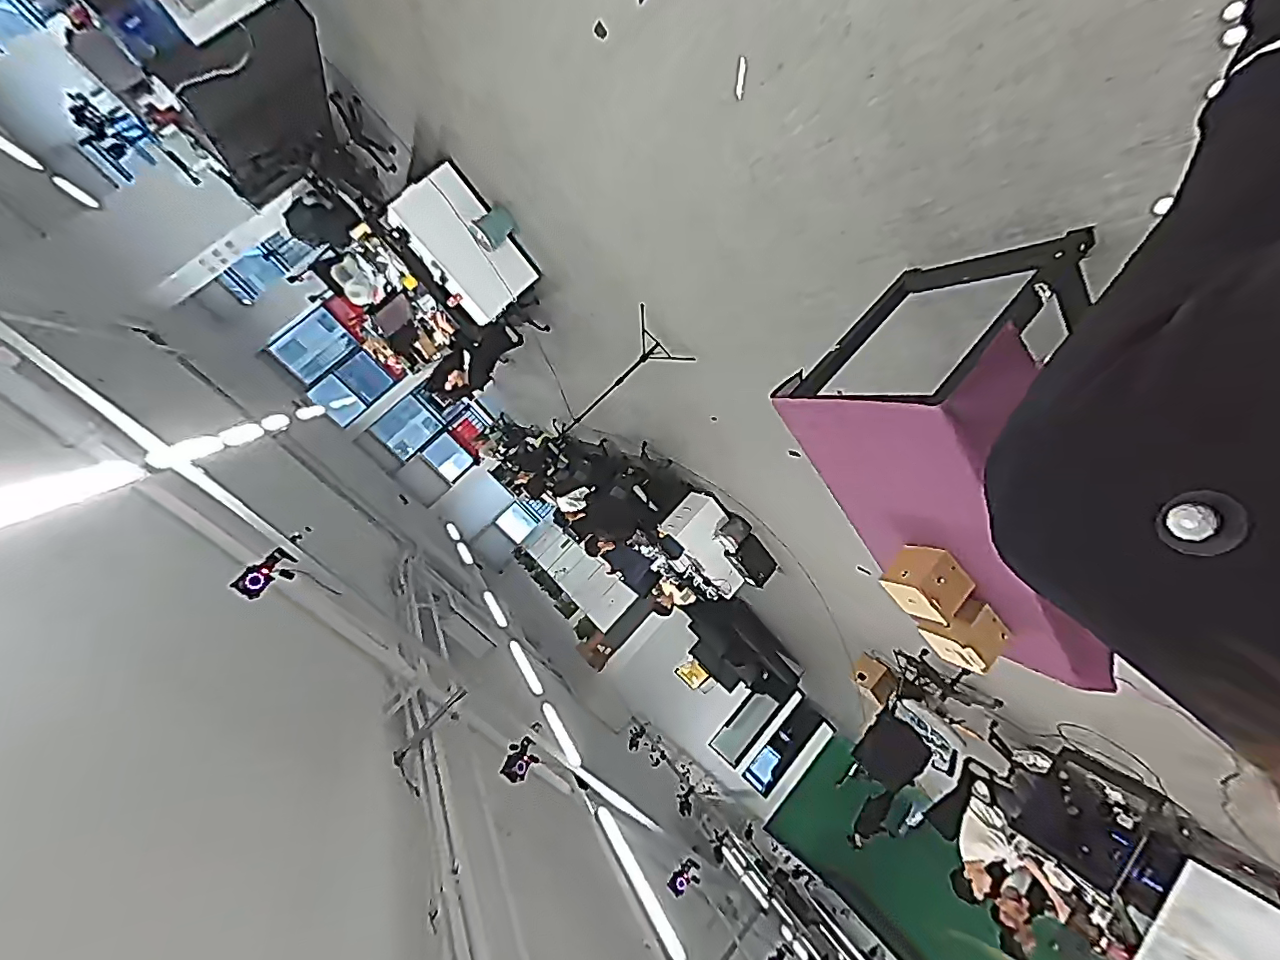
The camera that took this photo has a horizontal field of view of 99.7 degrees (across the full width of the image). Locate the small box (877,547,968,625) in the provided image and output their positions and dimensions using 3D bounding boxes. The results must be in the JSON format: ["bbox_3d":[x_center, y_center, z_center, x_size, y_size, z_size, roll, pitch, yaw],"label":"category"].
[{"bbox_3d":[0.923,0.336,1.754,0.168,0.176,0.179,47,167,-11],"label":"small box"}]

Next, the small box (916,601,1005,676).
[{"bbox_3d":[1.084,0.517,1.819,0.168,0.176,0.179,48,168,-12],"label":"small box"}]
